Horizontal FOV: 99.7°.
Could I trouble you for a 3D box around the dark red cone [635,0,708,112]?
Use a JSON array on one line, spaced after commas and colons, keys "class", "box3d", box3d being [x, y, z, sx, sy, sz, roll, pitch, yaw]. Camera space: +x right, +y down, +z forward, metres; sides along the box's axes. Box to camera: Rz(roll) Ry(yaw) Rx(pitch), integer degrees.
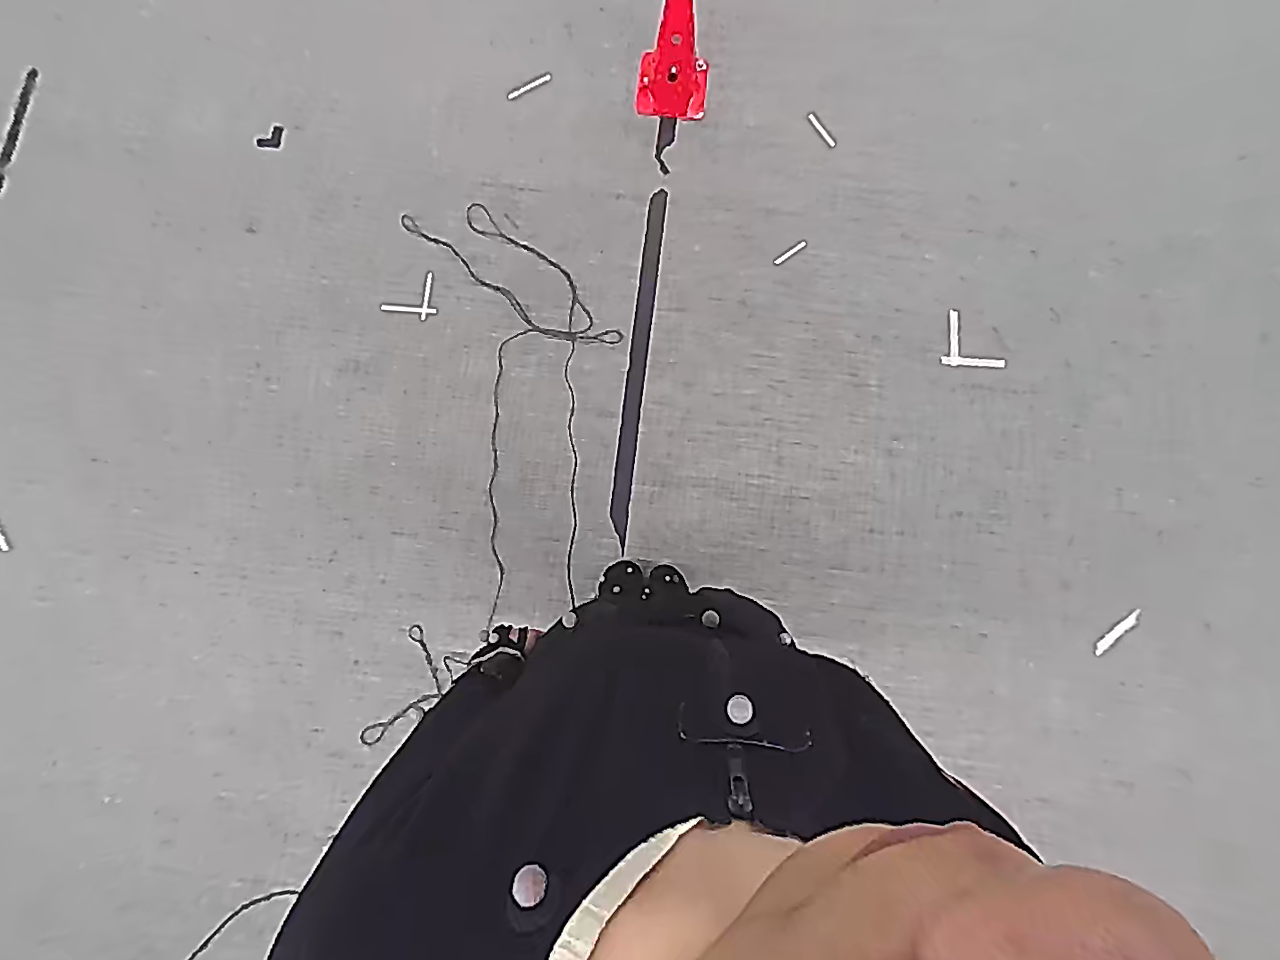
[{"class": "dark red cone", "box3d": [0.089, -1.172, 1.382, 0.201, 0.394, 0.202, 5, 83, 1]}]
